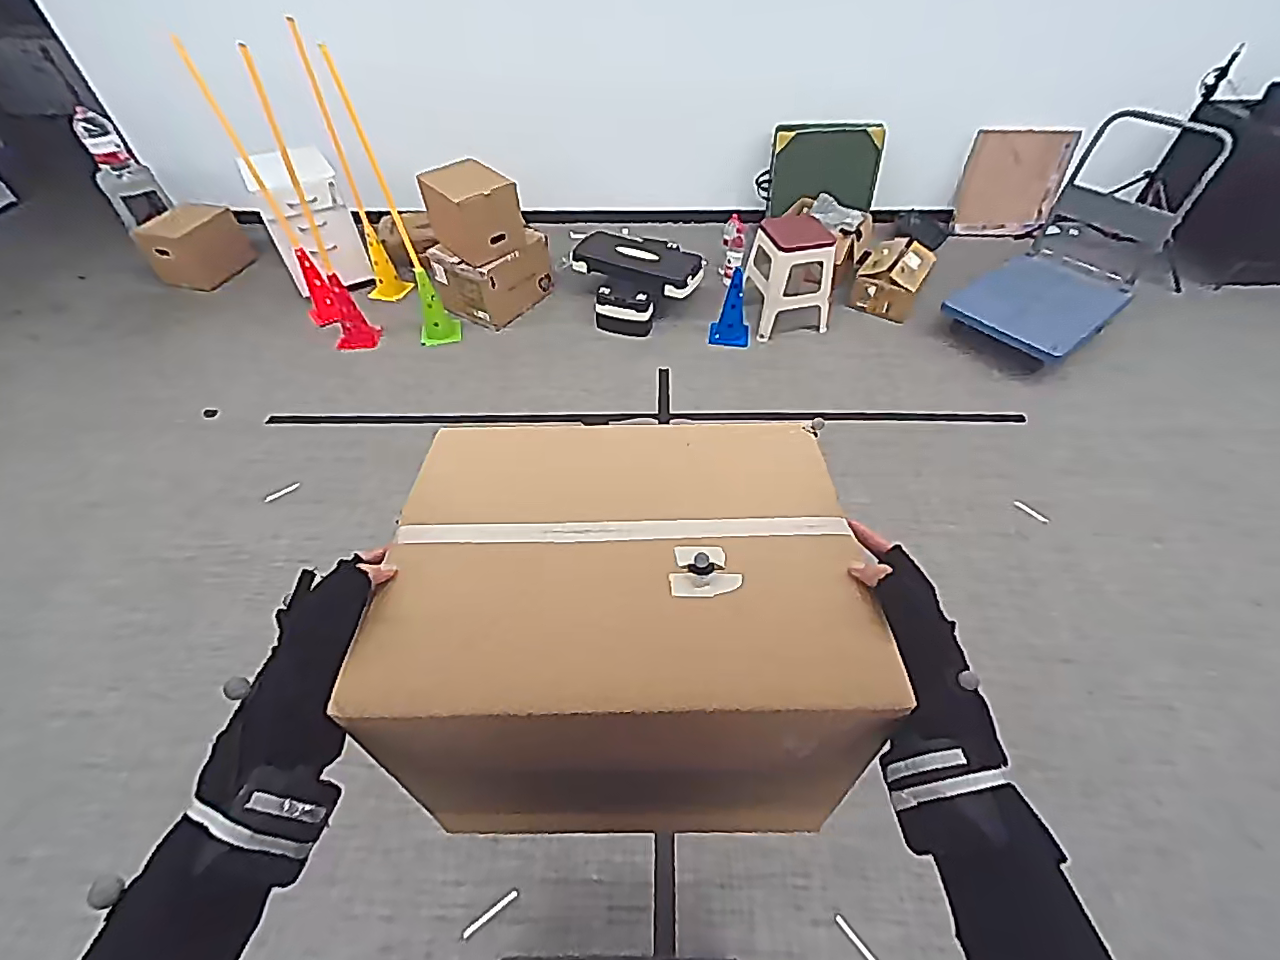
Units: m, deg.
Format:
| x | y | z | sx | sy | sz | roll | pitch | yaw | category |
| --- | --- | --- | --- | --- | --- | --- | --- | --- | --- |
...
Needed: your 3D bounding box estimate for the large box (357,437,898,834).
| x | y | z | sx | sy | sz | roll | pitch | yaw | category |
| --- | --- | --- | --- | --- | --- | --- | --- | --- | --- |
| -0.011 | 0.168 | 0.599 | 0.408 | 0.320 | 0.320 | -1 | 44 | 0 | large box |
